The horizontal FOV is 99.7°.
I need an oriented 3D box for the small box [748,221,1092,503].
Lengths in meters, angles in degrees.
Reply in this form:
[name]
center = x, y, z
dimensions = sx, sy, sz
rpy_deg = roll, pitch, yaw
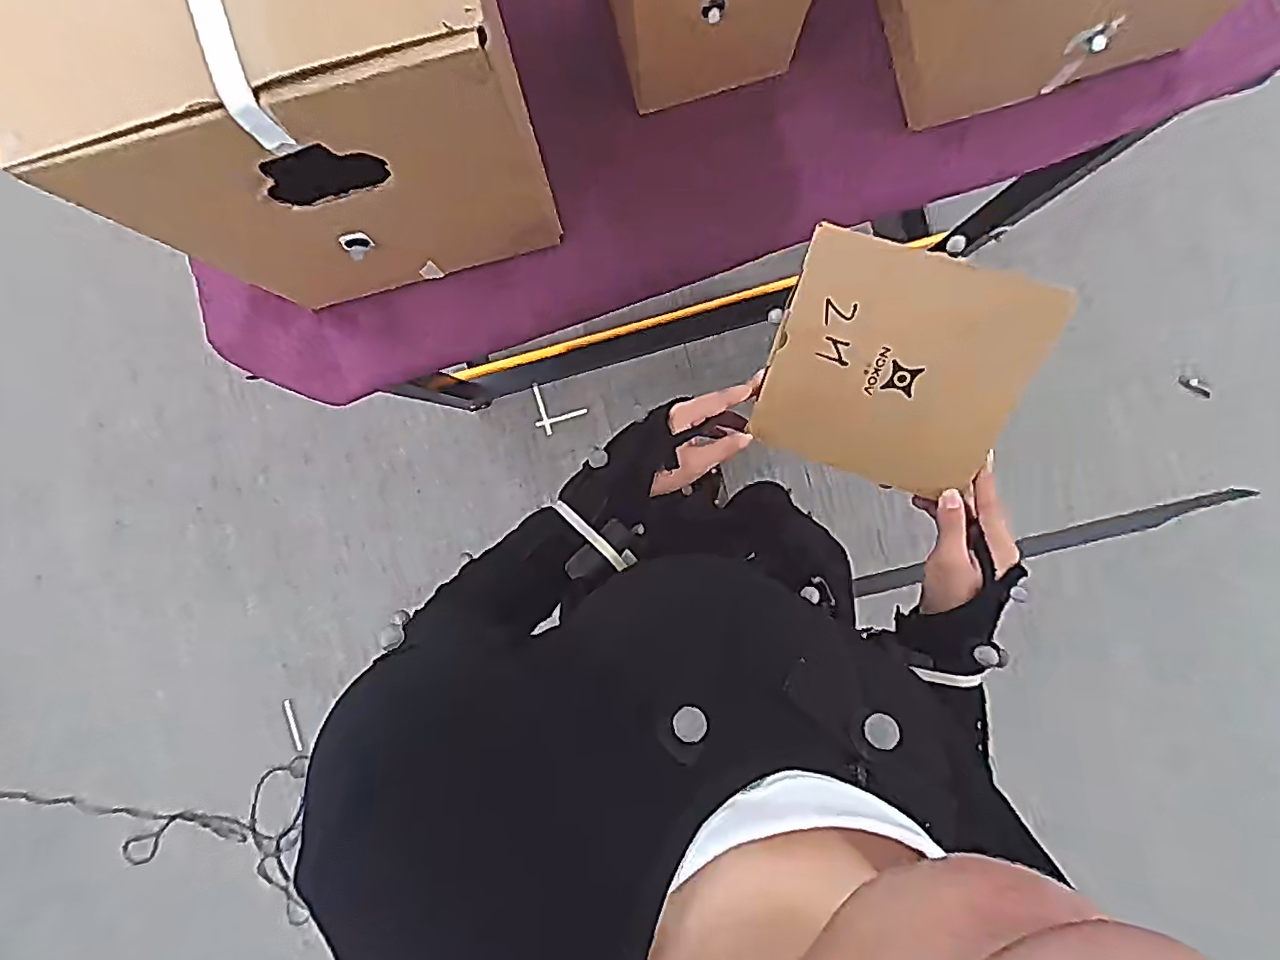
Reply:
[small box]
center = 0.209, -0.110, 0.456
dimensions = 0.179, 0.176, 0.168
rpy_deg = 20, 117, 10
